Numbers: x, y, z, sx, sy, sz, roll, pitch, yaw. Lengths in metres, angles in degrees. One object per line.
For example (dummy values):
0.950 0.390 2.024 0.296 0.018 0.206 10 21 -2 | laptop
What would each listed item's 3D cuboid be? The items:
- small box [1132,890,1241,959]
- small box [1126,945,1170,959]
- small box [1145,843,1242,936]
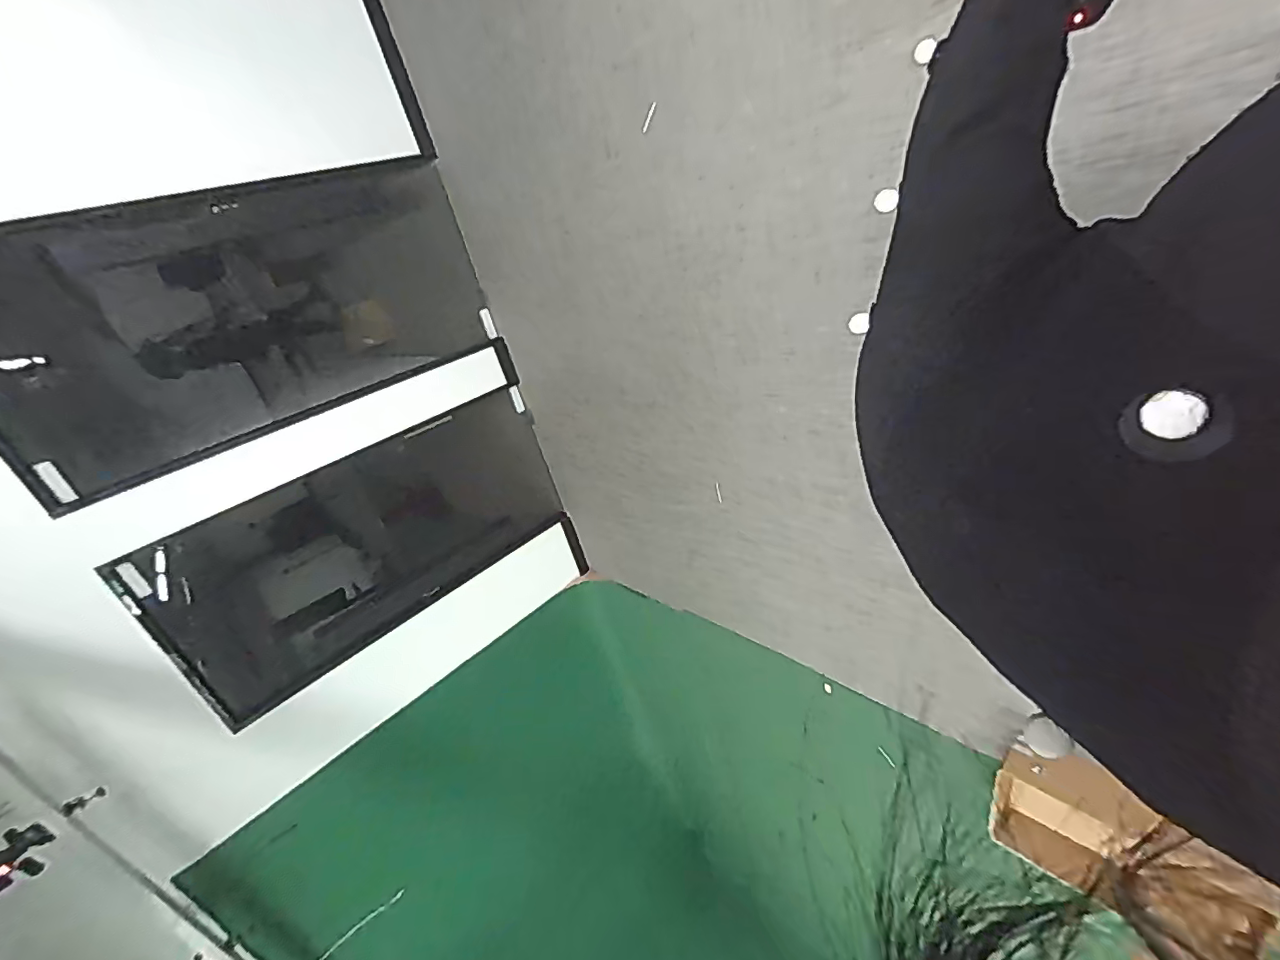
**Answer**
1.439 1.250 1.429 0.179 0.176 0.168 19 131 47 | small box
1.312 1.321 1.349 0.179 0.176 0.168 17 131 46 | small box
1.555 1.183 1.524 0.168 0.176 0.179 17 130 47 | small box
